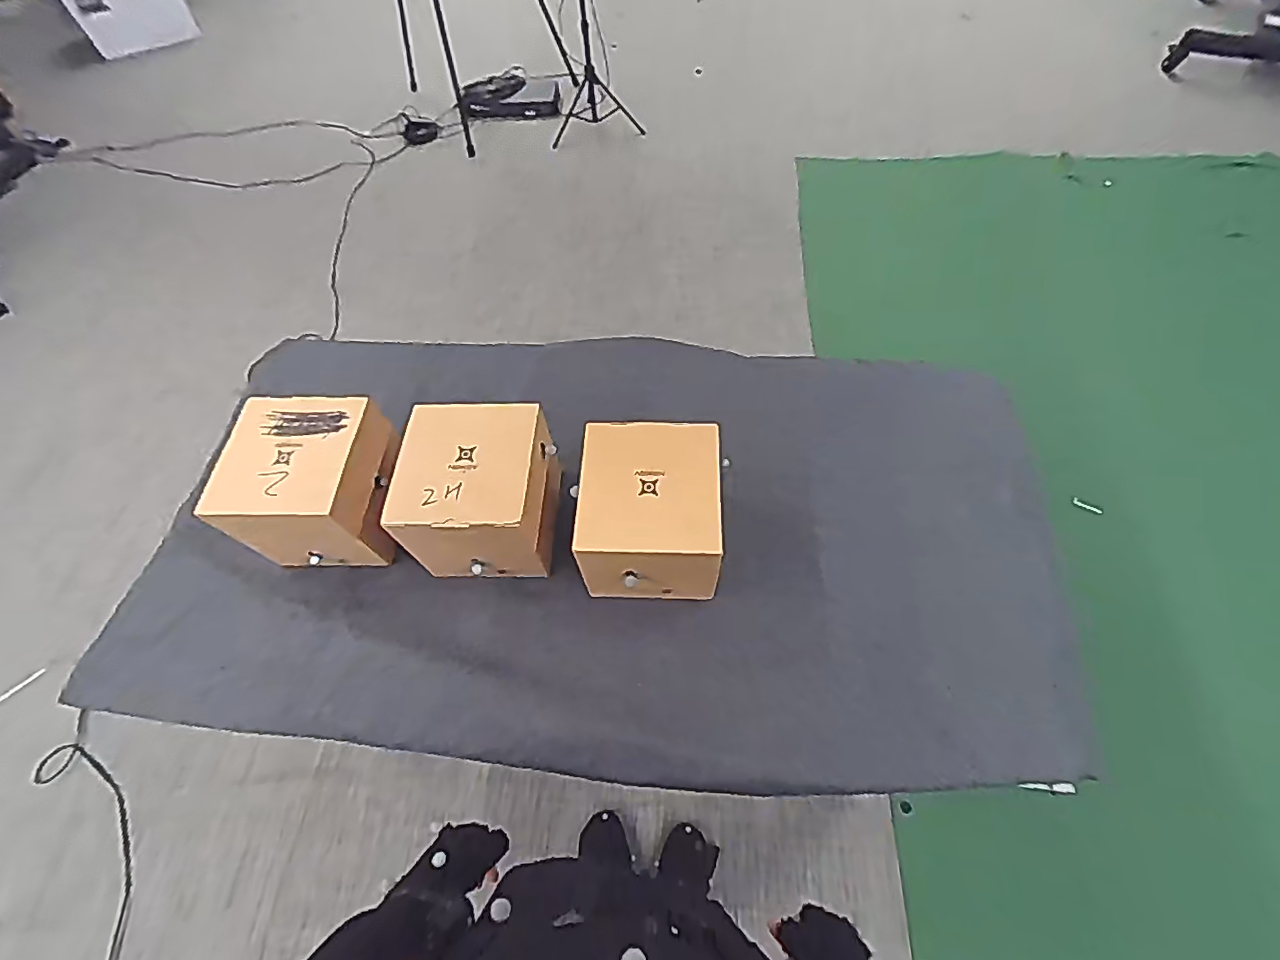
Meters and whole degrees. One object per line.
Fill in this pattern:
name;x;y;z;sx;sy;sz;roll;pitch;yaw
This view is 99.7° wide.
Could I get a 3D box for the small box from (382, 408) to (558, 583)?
small box;-0.208;0.024;0.722;0.168;0.176;0.179;0;60;3
